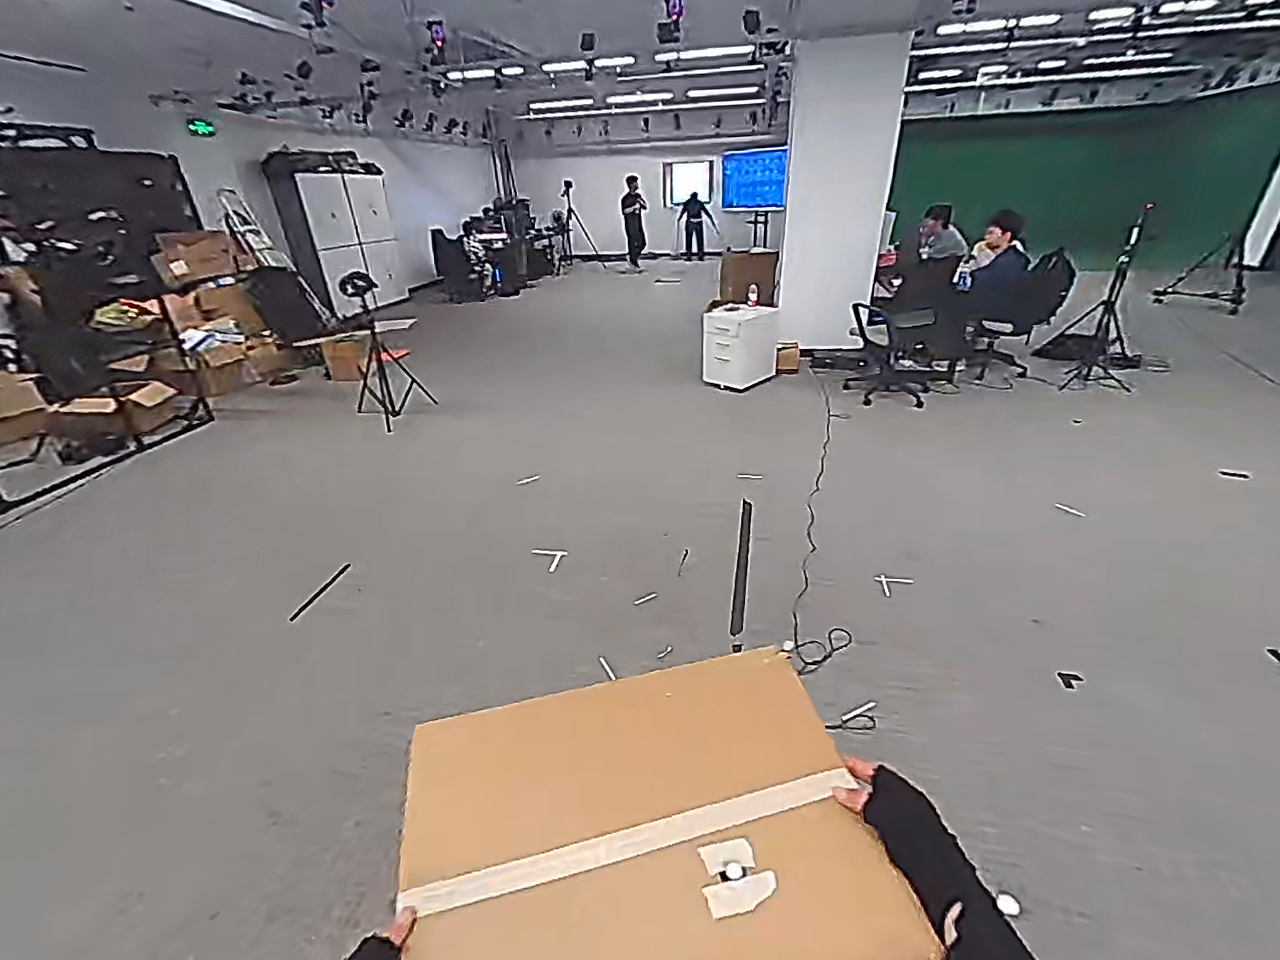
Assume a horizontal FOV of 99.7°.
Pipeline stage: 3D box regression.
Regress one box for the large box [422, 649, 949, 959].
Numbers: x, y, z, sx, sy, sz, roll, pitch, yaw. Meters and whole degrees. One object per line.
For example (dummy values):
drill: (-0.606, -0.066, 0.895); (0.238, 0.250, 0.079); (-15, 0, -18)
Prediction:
large box: (0.014, 0.436, 0.575); (0.408, 0.320, 0.320); (-8, 39, -9)
